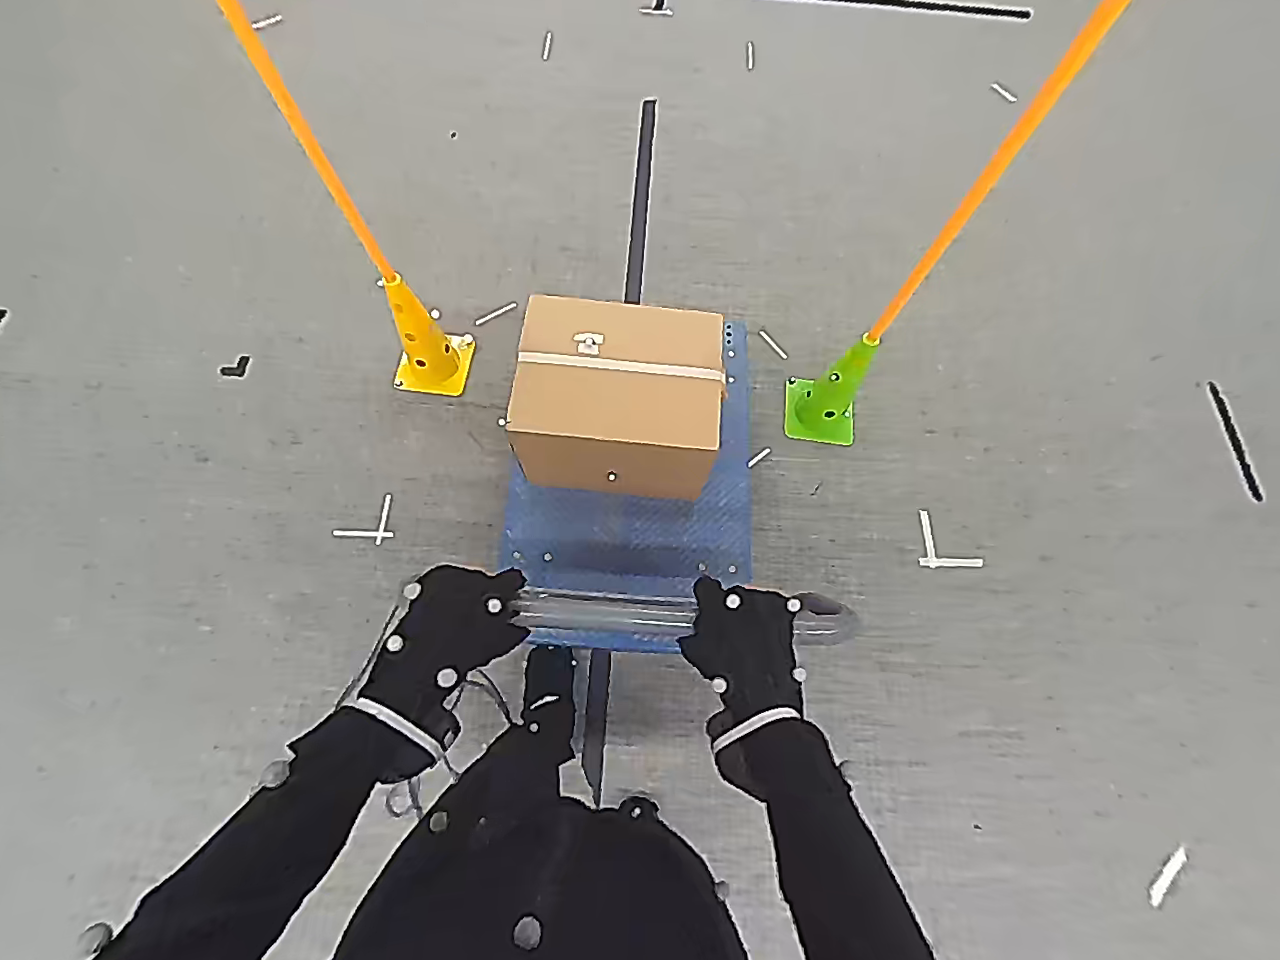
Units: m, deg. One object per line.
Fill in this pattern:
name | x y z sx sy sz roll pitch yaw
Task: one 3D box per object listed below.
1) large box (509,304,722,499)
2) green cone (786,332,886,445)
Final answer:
large box | -0.042 -0.158 1.209 0.408 0.320 0.320 6 69 0
green cone | 0.540 -0.264 1.430 0.202 0.368 0.200 8 69 -1
